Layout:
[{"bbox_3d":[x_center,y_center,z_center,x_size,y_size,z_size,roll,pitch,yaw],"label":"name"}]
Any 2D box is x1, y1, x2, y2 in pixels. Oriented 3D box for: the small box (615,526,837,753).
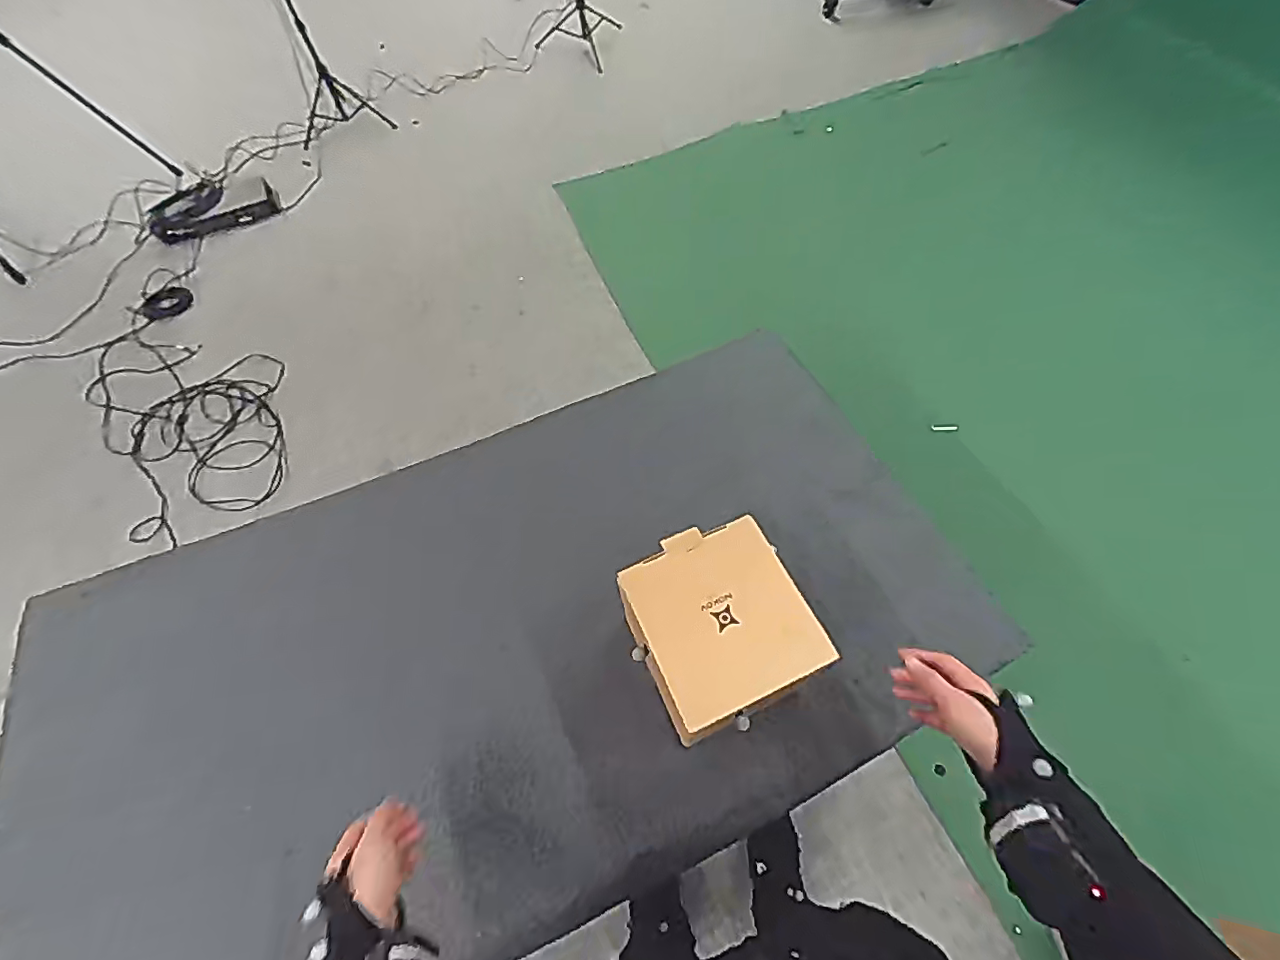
[{"bbox_3d":[0.086,0.186,0.607,0.168,0.176,0.179,-23,60,-9],"label":"small box"}]
